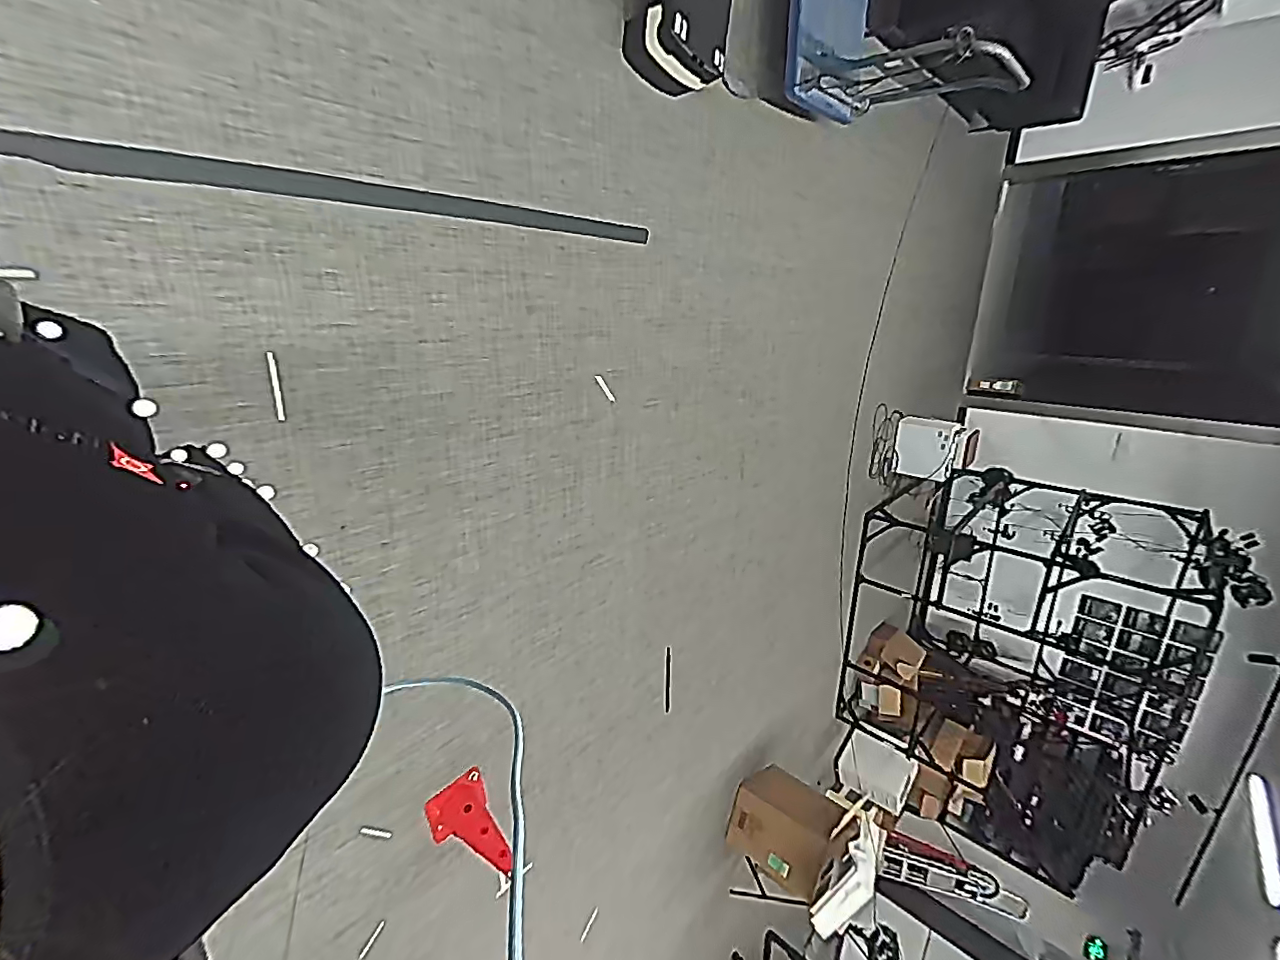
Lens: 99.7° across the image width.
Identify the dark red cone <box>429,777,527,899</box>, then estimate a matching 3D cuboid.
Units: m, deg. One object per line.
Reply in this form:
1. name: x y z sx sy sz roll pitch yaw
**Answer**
1. dark red cone: -0.483 1.155 1.703 0.201 0.394 0.202 -26 121 -40
